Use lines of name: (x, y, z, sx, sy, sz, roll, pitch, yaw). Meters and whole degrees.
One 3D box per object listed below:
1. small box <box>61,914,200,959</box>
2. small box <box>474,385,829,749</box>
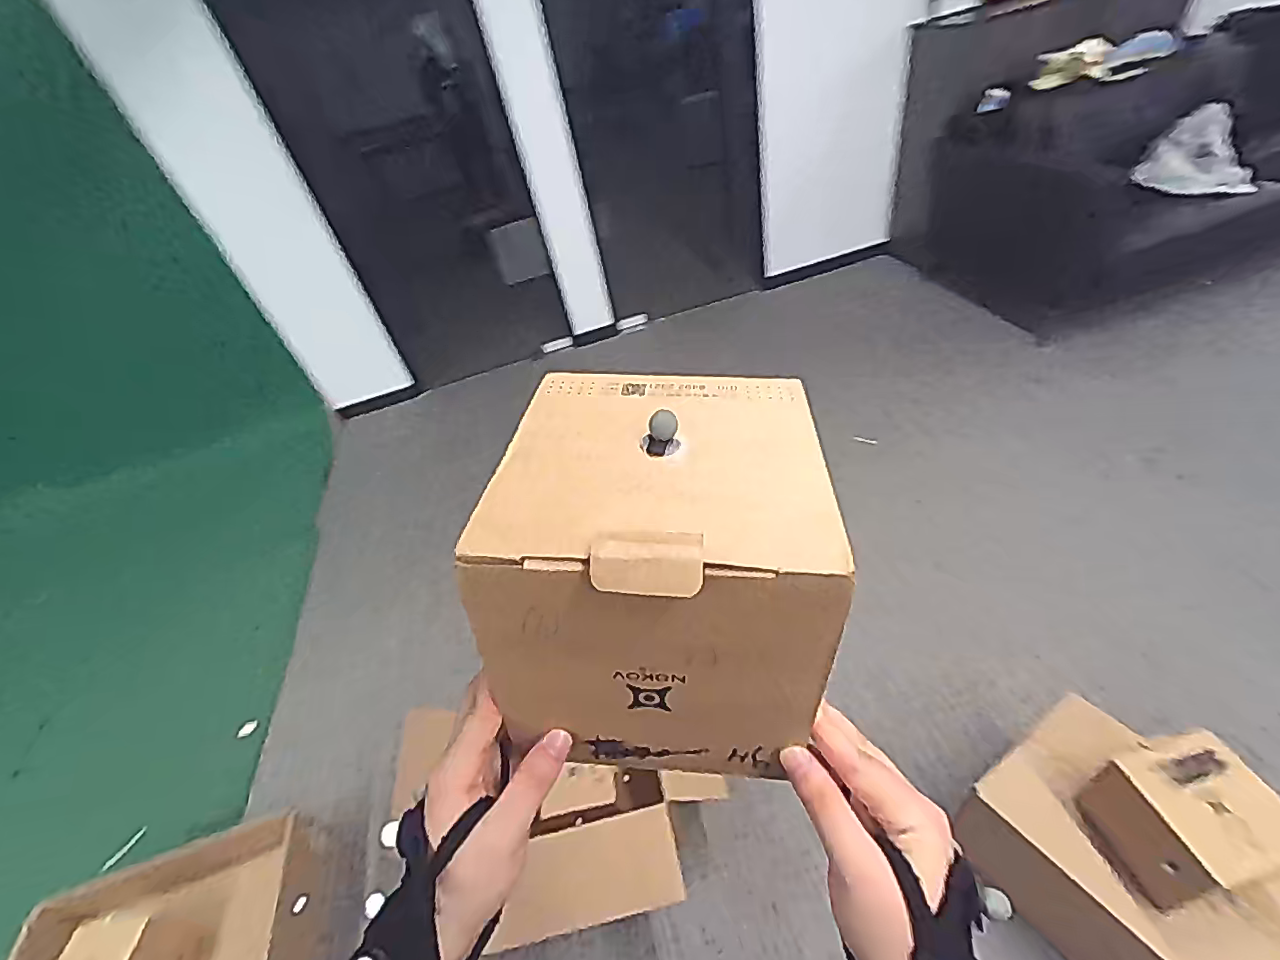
small box: (-1.135, 1.080, 1.187, 0.179, 0.176, 0.168, -10, 40, 4)
small box: (0.009, 0.049, 0.356, 0.168, 0.179, 0.176, 1, 37, 4)
